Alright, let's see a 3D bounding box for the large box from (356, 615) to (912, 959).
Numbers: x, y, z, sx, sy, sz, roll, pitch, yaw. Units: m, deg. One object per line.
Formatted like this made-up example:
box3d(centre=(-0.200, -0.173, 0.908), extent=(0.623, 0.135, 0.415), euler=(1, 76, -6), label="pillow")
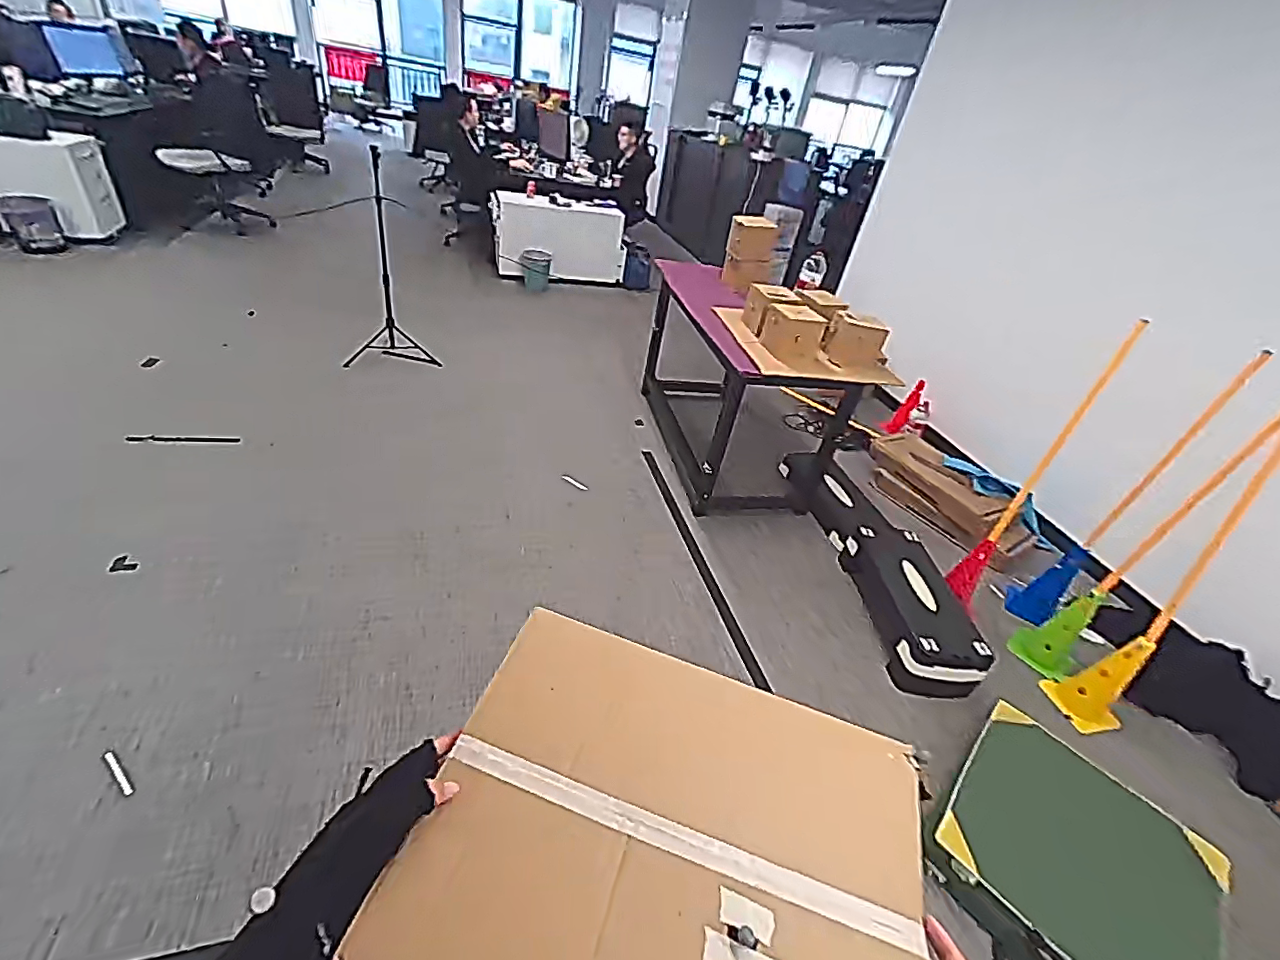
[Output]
box3d(centre=(0.008, 0.407, 0.559), extent=(0.408, 0.320, 0.320), euler=(18, 44, 8), label="large box")
